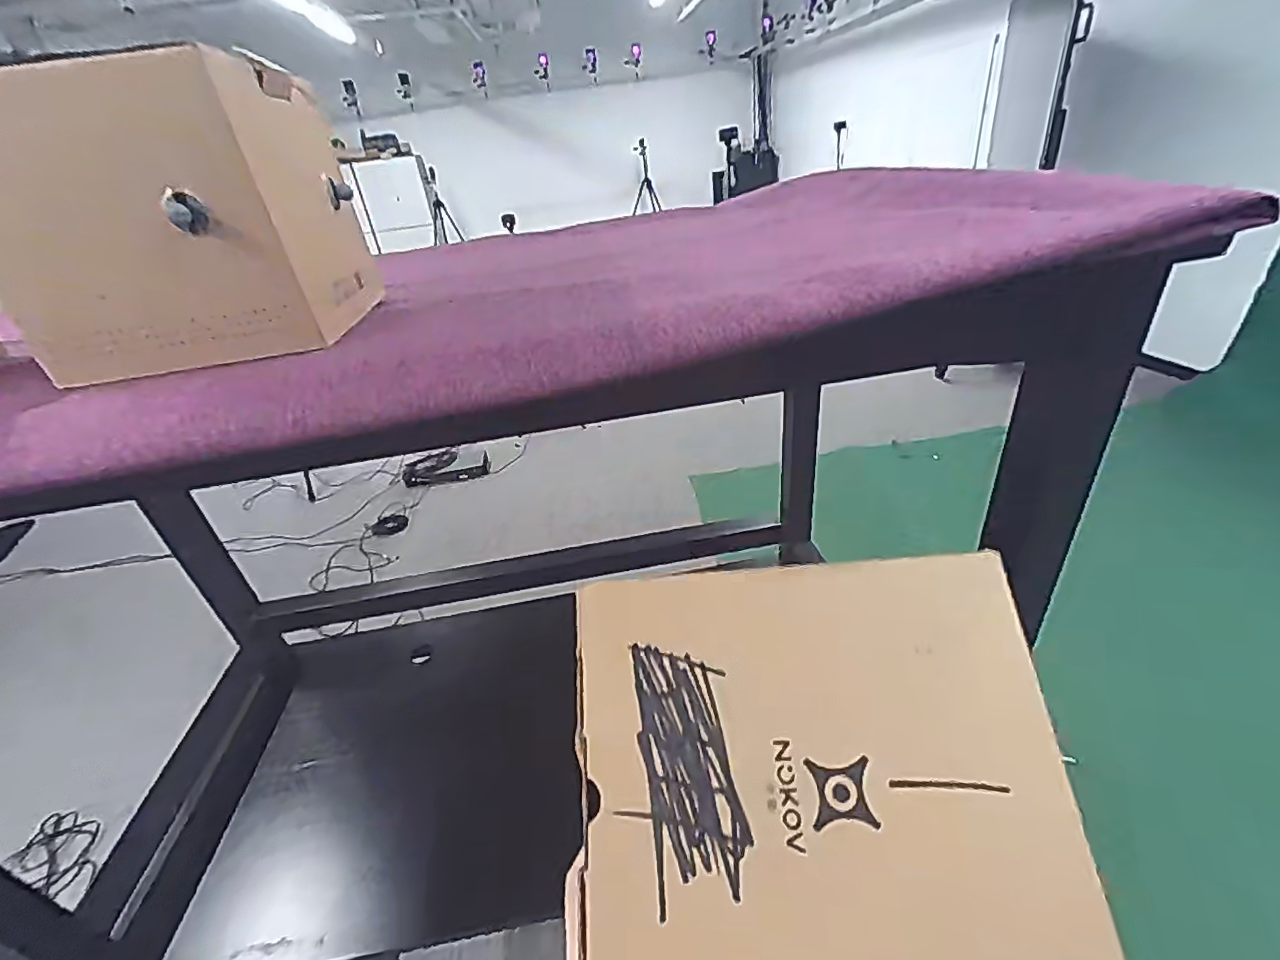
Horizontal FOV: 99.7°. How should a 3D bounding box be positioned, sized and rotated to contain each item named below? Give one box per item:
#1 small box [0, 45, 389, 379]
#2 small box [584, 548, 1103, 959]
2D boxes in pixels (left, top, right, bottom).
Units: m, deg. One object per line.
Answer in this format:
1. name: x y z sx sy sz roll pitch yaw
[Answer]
1. small box: -0.310 -0.188 0.394 0.179 0.176 0.168 -11 30 -4
2. small box: 0.073 0.141 0.283 0.179 0.176 0.168 -4 67 4
